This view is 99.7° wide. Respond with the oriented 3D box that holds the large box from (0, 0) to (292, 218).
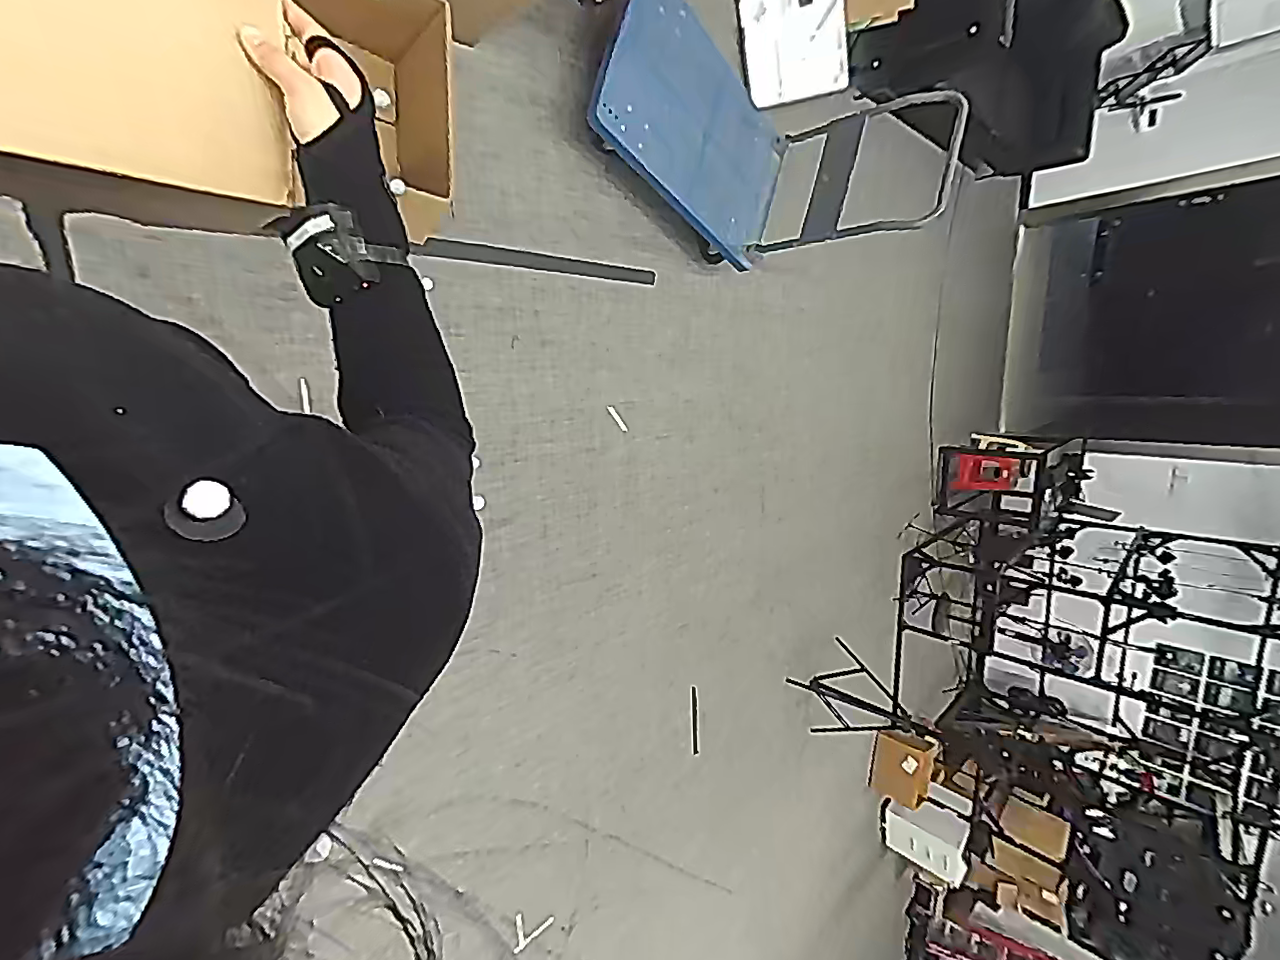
[{"bbox_3d":[-0.524,-0.401,0.393,0.408,0.320,0.320,-8,109,-40],"label":"large box"}]
